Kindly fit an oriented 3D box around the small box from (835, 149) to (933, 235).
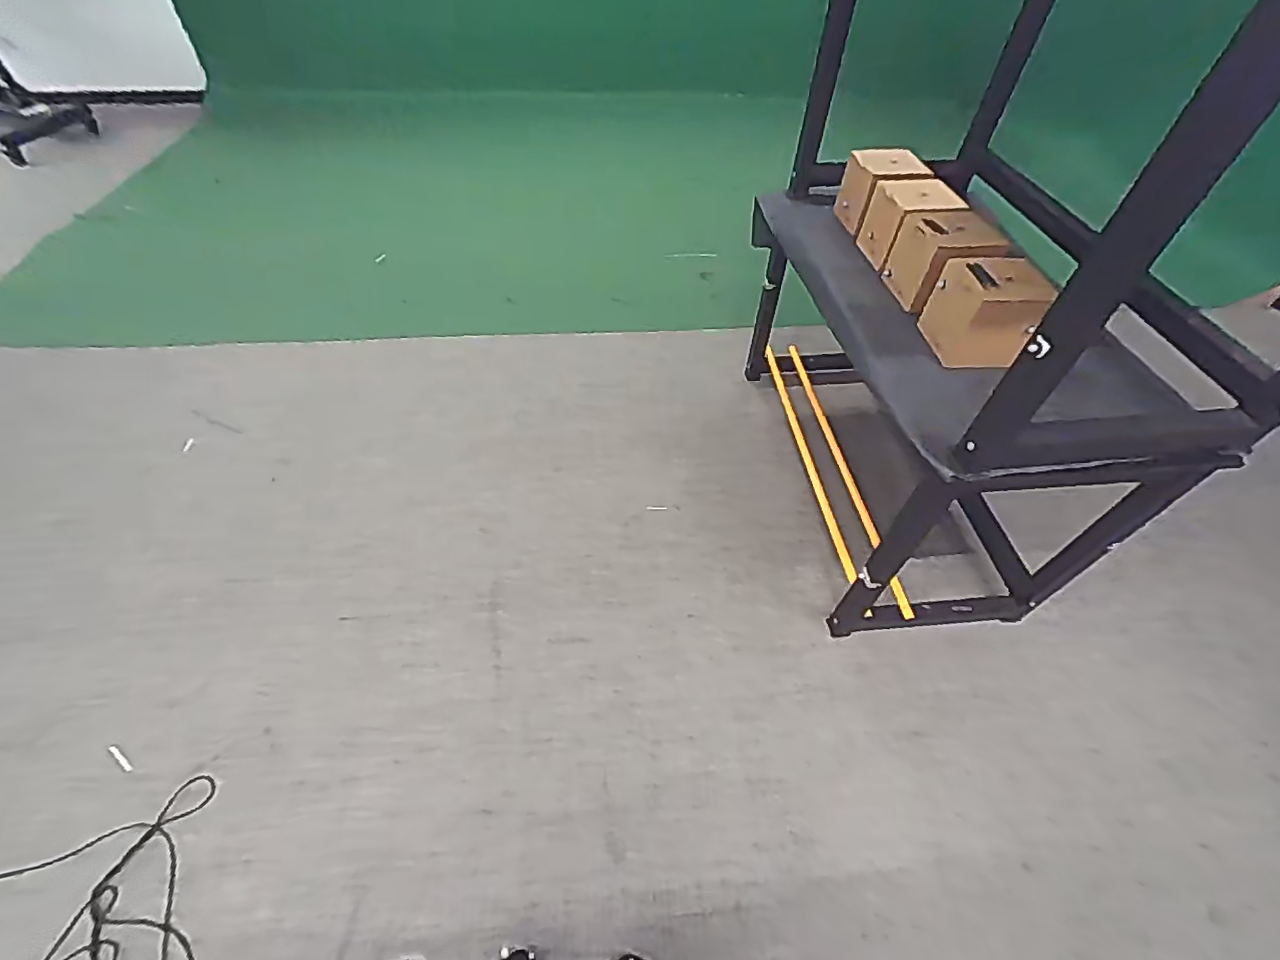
[{"bbox_3d":[0.692,-0.824,1.553,0.179,0.176,0.168,-5,51,-5],"label":"small box"}]
